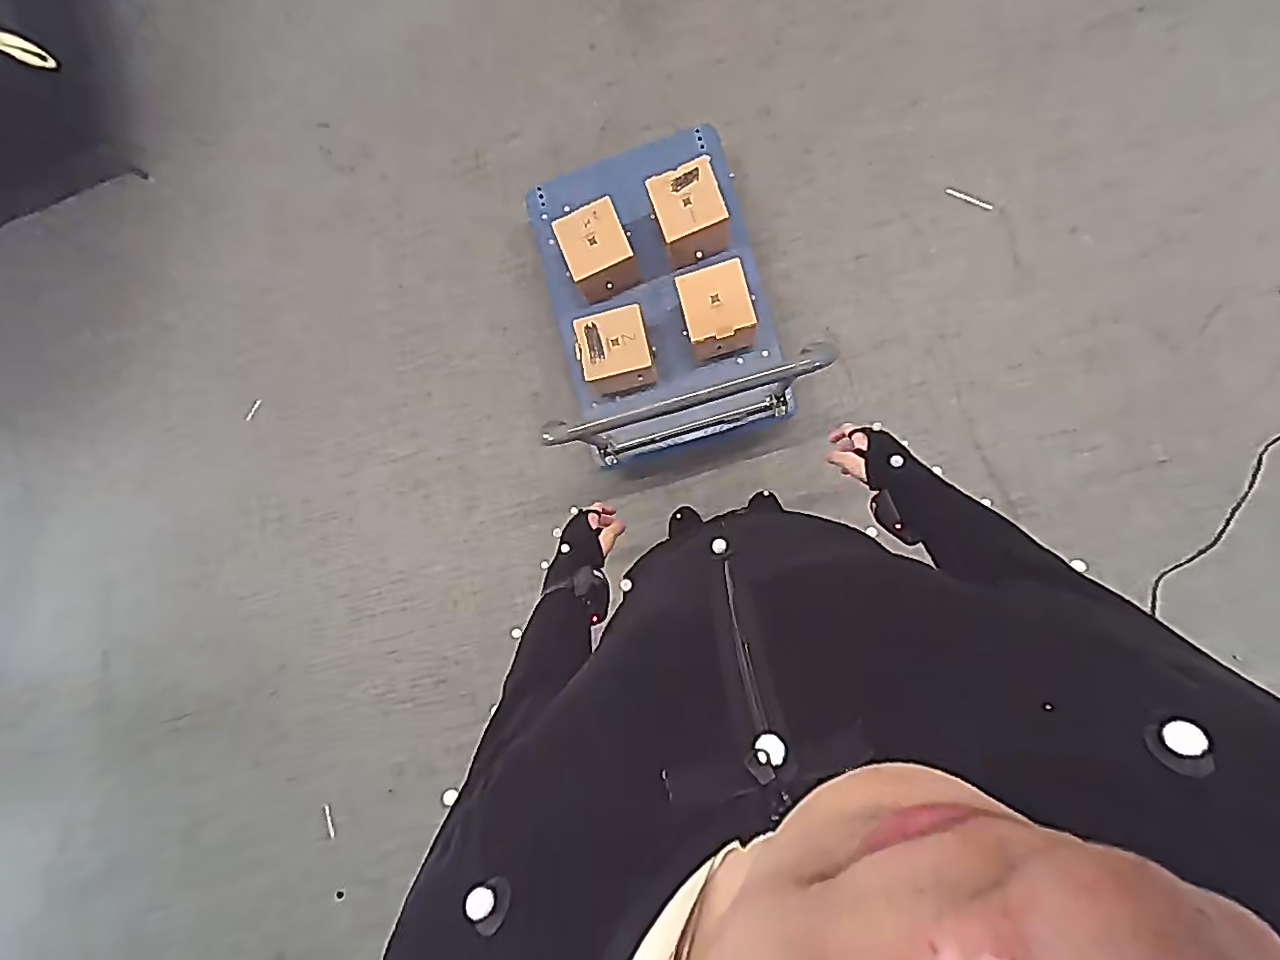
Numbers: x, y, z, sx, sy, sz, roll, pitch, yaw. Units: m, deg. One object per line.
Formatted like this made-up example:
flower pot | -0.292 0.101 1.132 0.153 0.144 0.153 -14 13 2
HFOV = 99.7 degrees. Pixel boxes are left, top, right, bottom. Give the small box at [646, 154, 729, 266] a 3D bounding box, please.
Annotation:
small box | 0.127 -0.699 1.418 0.168 0.176 0.179 -20 86 8

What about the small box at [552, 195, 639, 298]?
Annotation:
small box | -0.111 -0.612 1.449 0.168 0.176 0.179 -22 85 6

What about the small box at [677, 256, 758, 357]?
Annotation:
small box | 0.198 -0.440 1.399 0.168 0.176 0.179 -16 86 7
